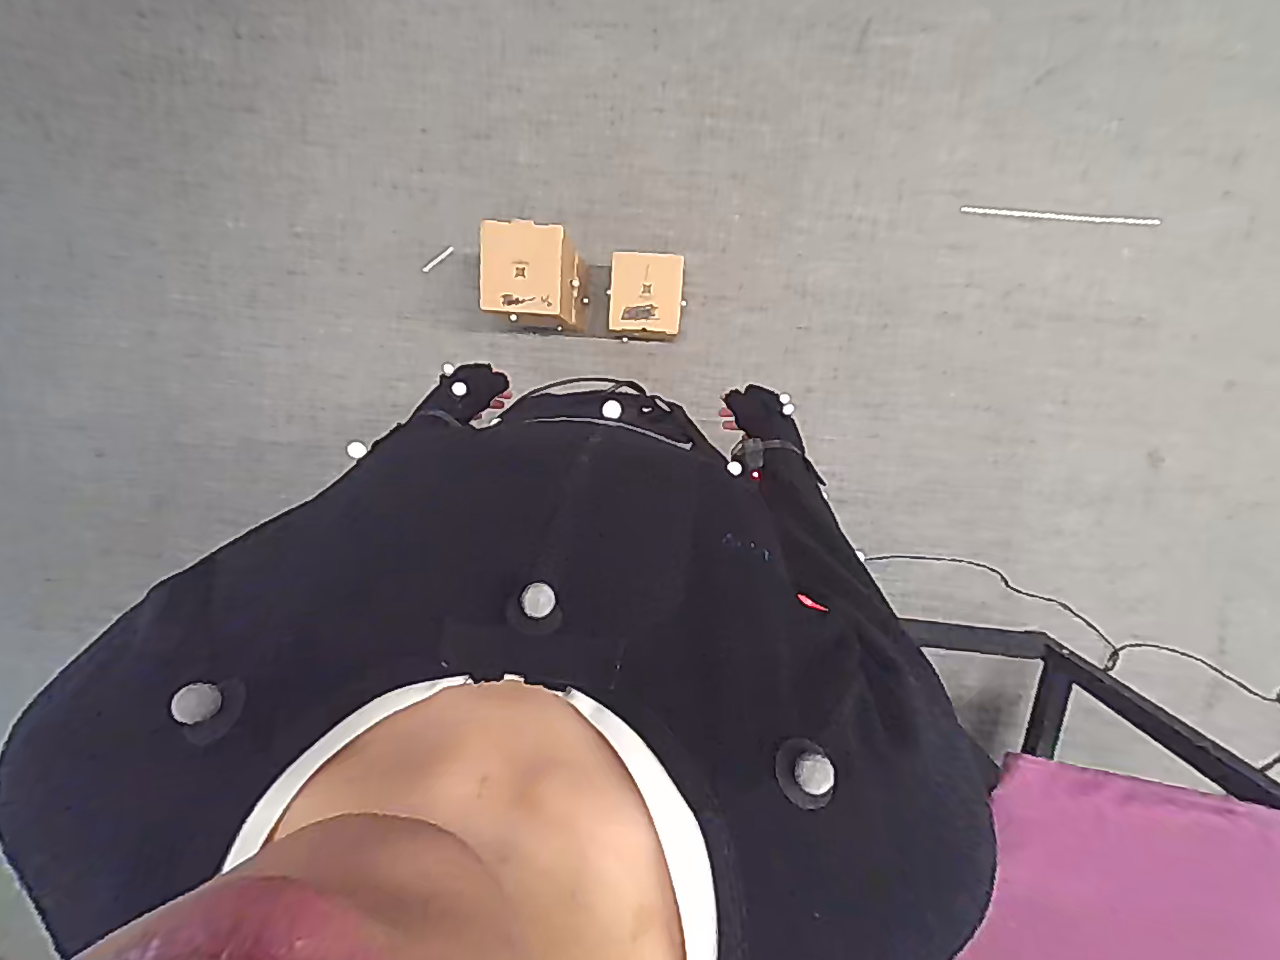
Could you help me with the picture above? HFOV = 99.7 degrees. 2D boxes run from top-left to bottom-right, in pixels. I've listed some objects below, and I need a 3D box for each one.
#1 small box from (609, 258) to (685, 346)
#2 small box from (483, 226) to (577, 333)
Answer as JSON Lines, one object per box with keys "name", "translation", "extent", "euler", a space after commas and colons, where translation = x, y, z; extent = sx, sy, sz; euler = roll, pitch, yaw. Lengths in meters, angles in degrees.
{"name": "small box", "translation": [0.019, -0.427, 1.324], "extent": [0.168, 0.176, 0.179], "euler": [4, 98, 1]}
{"name": "small box", "translation": [-0.231, -0.425, 1.168], "extent": [0.168, 0.176, 0.179], "euler": [5, 98, 1]}
